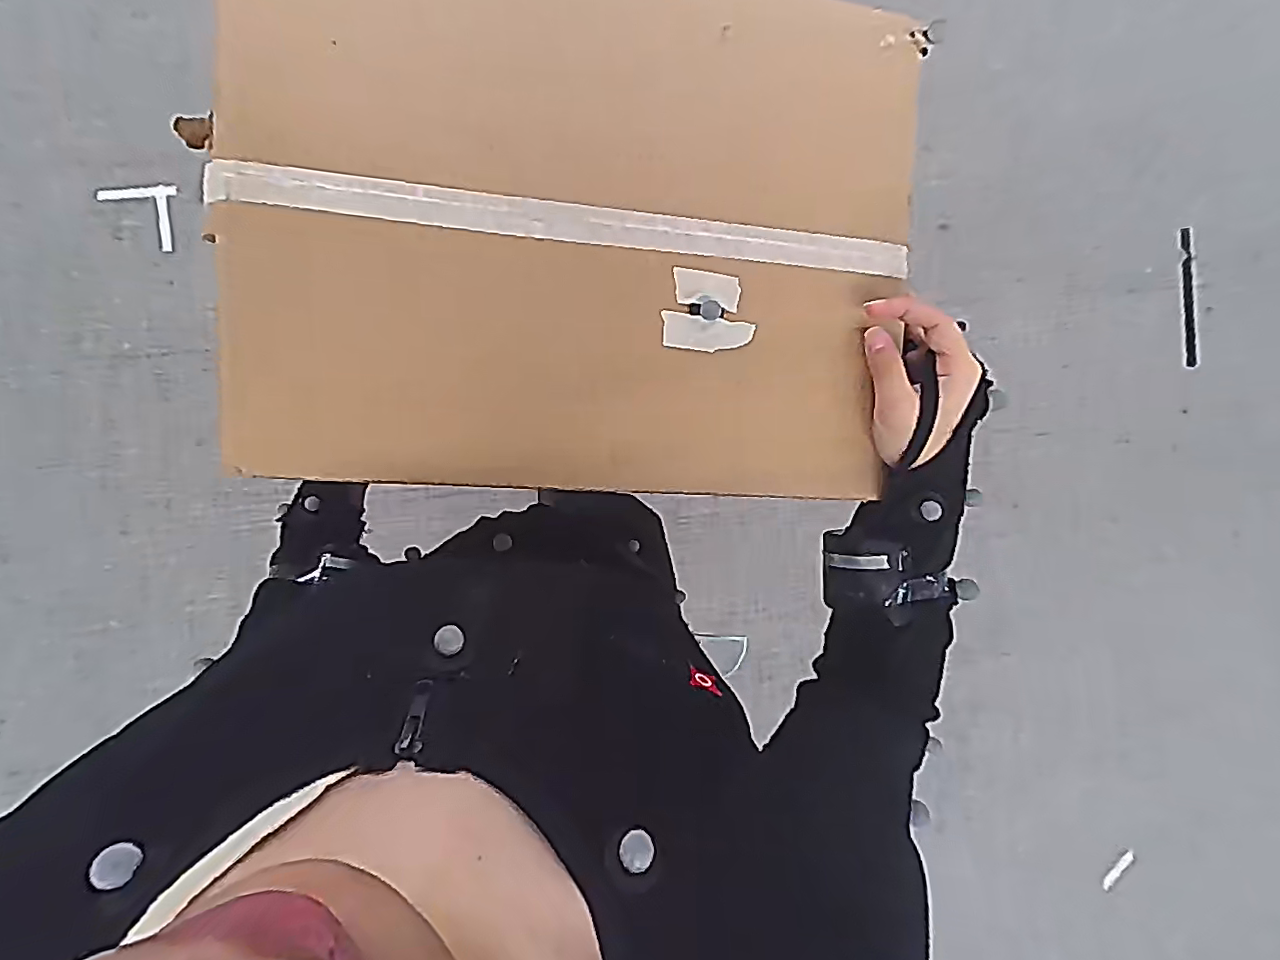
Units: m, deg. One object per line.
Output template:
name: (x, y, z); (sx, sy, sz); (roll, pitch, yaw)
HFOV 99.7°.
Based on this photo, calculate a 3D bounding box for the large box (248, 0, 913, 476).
large box: (-0.048, -0.170, 0.476); (0.408, 0.320, 0.320); (2, 95, -12)
